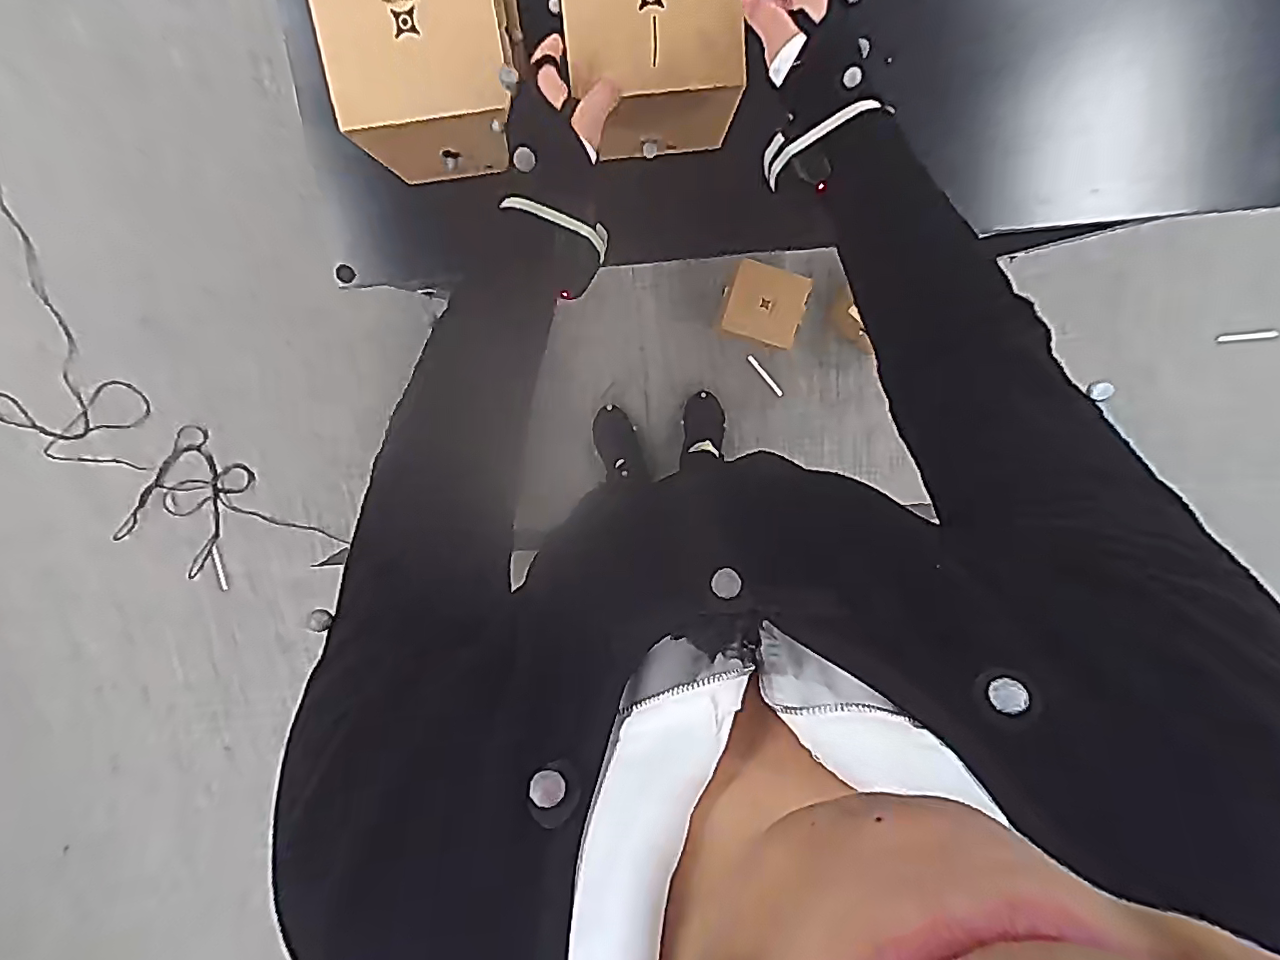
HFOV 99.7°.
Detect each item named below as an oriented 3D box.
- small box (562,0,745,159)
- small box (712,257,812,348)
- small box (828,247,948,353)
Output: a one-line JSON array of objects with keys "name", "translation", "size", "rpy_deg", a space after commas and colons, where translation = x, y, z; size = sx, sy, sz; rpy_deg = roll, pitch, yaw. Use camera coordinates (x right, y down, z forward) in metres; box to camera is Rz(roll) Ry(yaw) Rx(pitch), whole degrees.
[{"name": "small box", "translation": [0.009, -0.462, 0.559], "size": [0.168, 0.176, 0.179], "rpy_deg": [-5, 104, 1]}, {"name": "small box", "translation": [0.290, -0.427, 1.322], "size": [0.179, 0.176, 0.168], "rpy_deg": [15, 102, -3]}, {"name": "small box", "translation": [0.593, -0.431, 1.321], "size": [0.168, 0.176, 0.179], "rpy_deg": [38, 101, -9]}]
